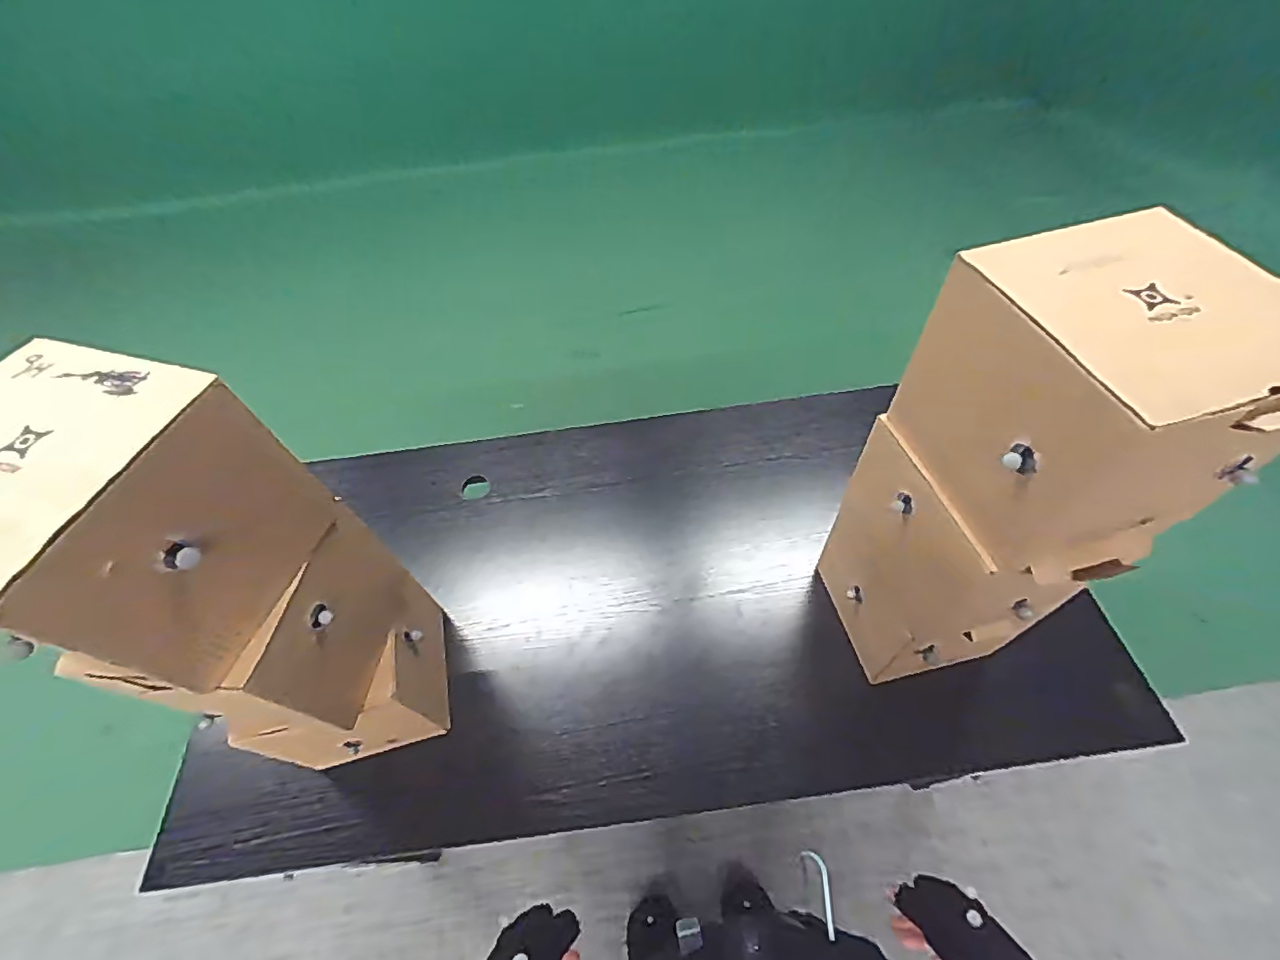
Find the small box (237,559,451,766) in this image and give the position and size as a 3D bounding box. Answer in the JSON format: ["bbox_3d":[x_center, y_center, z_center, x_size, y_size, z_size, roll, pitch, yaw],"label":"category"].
[{"bbox_3d":[-0.343,0.226,0.662,0.168,0.176,0.179,-15,56,-6],"label":"small box"}]

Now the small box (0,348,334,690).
[{"bbox_3d":[-0.371,0.035,0.396,0.168,0.176,0.179,12,59,11],"label":"small box"}]

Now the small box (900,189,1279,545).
[{"bbox_3d":[0.325,-0.070,0.390,0.168,0.176,0.179,-14,54,-5],"label":"small box"}]

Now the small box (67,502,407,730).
[{"bbox_3d":[-0.357,0.133,0.528,0.168,0.176,0.179,3,55,6],"label":"small box"}]

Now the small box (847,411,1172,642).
[{"bbox_3d":[0.331,0.034,0.536,0.168,0.176,0.179,-15,55,-5],"label":"small box"}]
